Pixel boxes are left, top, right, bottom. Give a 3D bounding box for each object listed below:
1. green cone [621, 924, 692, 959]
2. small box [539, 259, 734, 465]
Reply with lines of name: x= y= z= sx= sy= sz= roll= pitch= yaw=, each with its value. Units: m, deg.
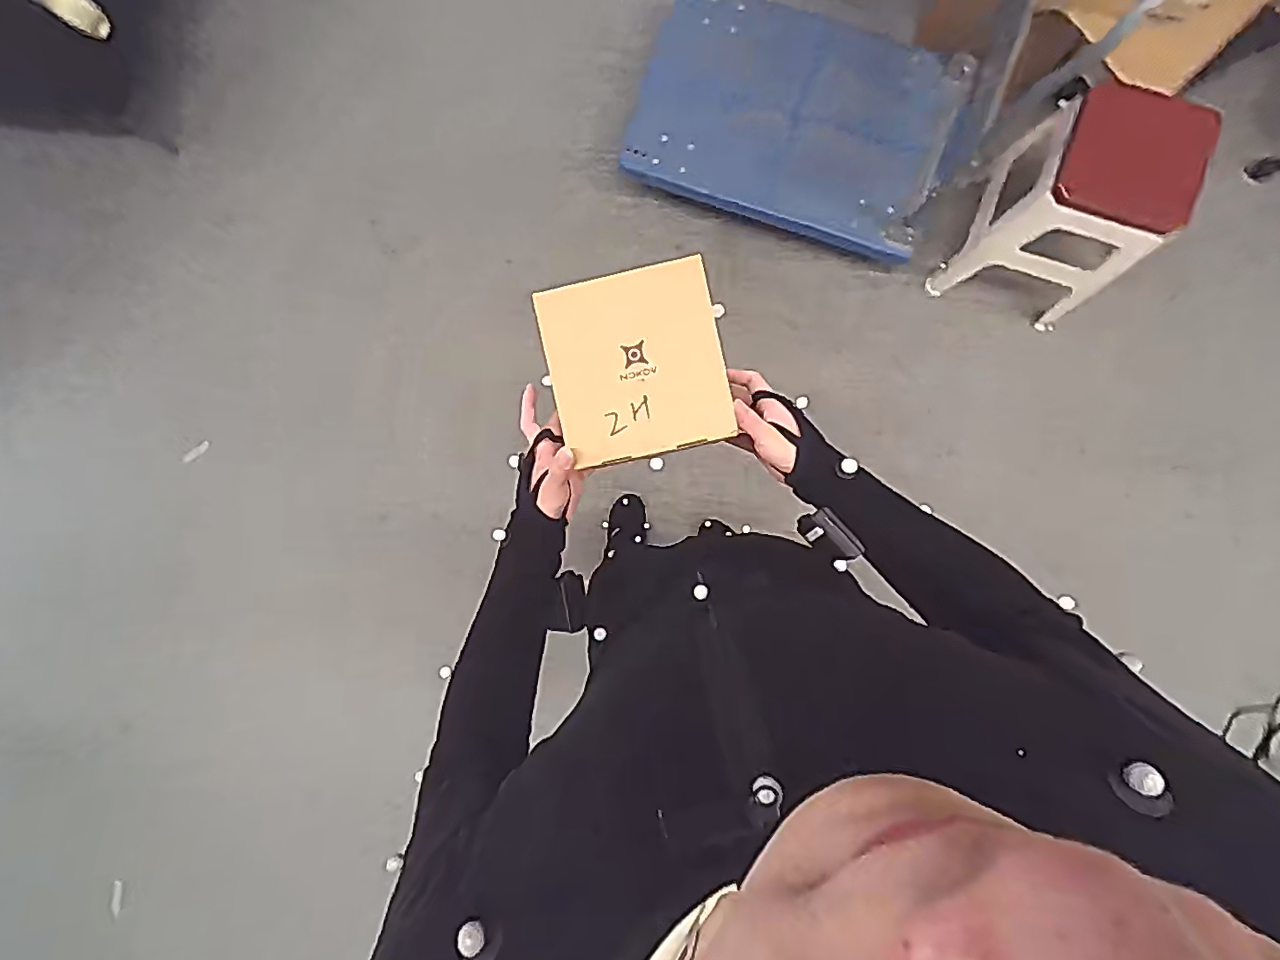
green cone: x=0.038 y=1.417 z=1.423 sx=0.202 sy=0.368 sz=0.200 roll=8 pitch=89 yaw=2
small box: x=-0.002 y=-0.116 z=0.602 sx=0.168 sy=0.176 sz=0.179 roll=-12 pitch=92 yaw=3
